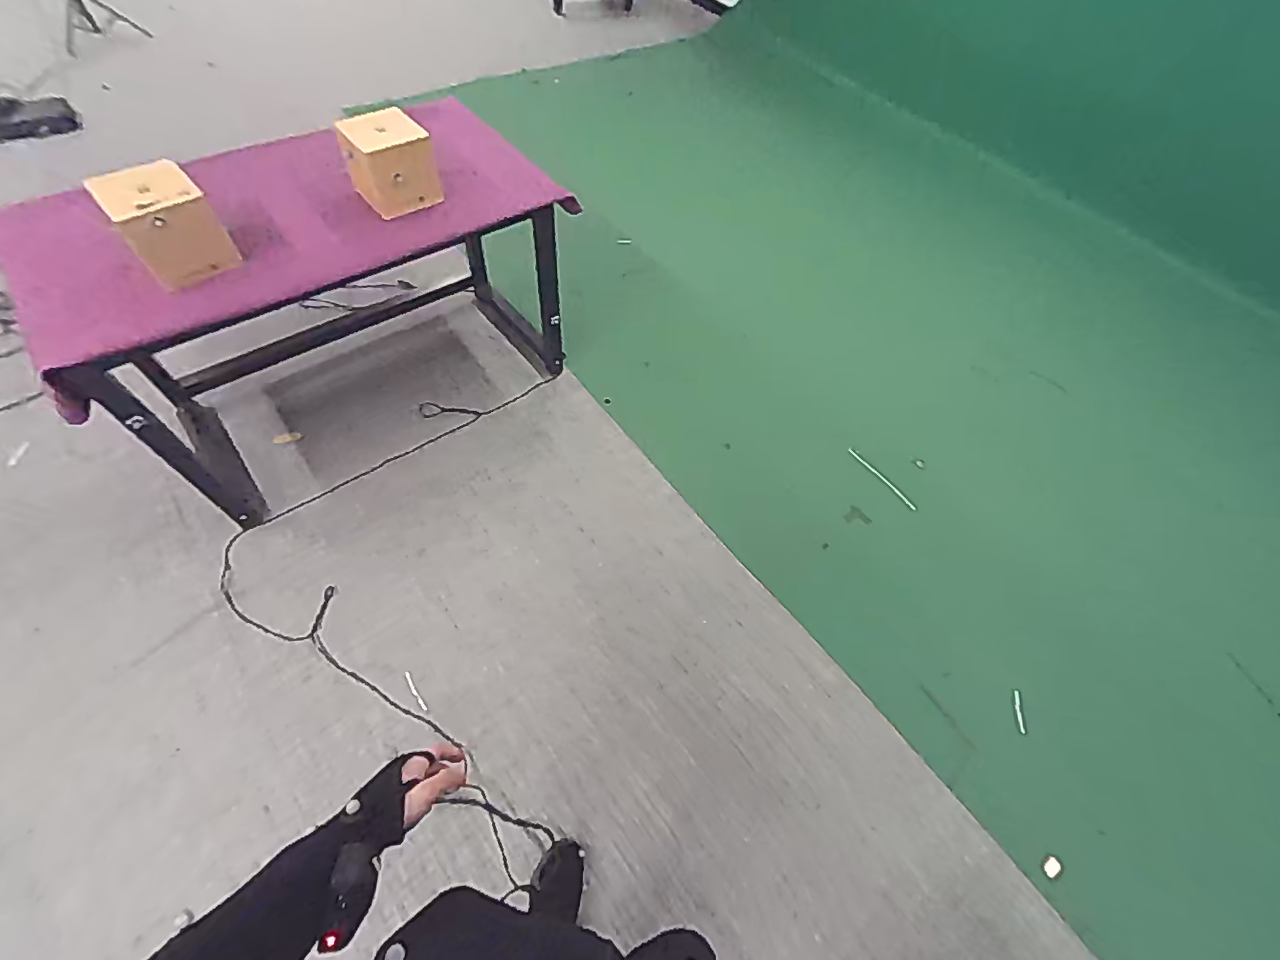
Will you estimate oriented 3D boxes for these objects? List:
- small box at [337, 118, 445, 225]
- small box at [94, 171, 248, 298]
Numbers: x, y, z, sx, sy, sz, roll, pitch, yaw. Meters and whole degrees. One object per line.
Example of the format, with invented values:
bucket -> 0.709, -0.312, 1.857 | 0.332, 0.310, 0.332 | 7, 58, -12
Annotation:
small box -> -0.624, -0.775, 1.374 | 0.168, 0.176, 0.179 | -34, 64, -23
small box -> -1.012, -0.532, 1.178 | 0.168, 0.176, 0.179 | -38, 67, -25
